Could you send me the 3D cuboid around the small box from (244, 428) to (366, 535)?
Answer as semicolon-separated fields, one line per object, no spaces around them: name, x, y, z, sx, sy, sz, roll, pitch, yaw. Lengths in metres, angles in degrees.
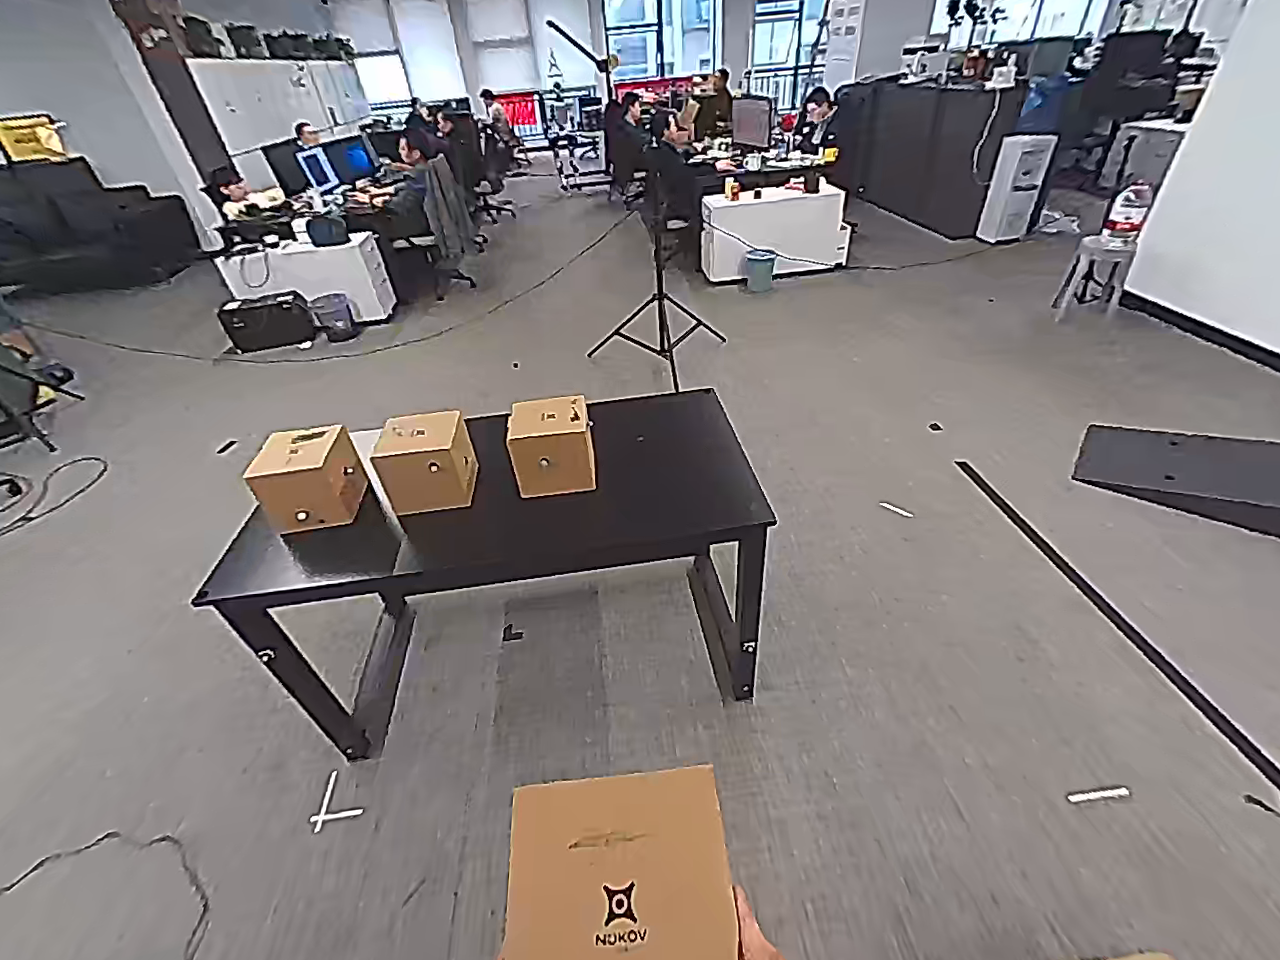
small box;-0.764;0.002;1.258;0.168;0.176;0.179;-9;39;-4

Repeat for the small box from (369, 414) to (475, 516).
small box;-0.500;-0.035;1.273;0.179;0.176;0.168;-8;37;-4

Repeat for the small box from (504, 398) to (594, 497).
small box;-0.210;-0.074;1.290;0.179;0.176;0.168;-7;38;-1
